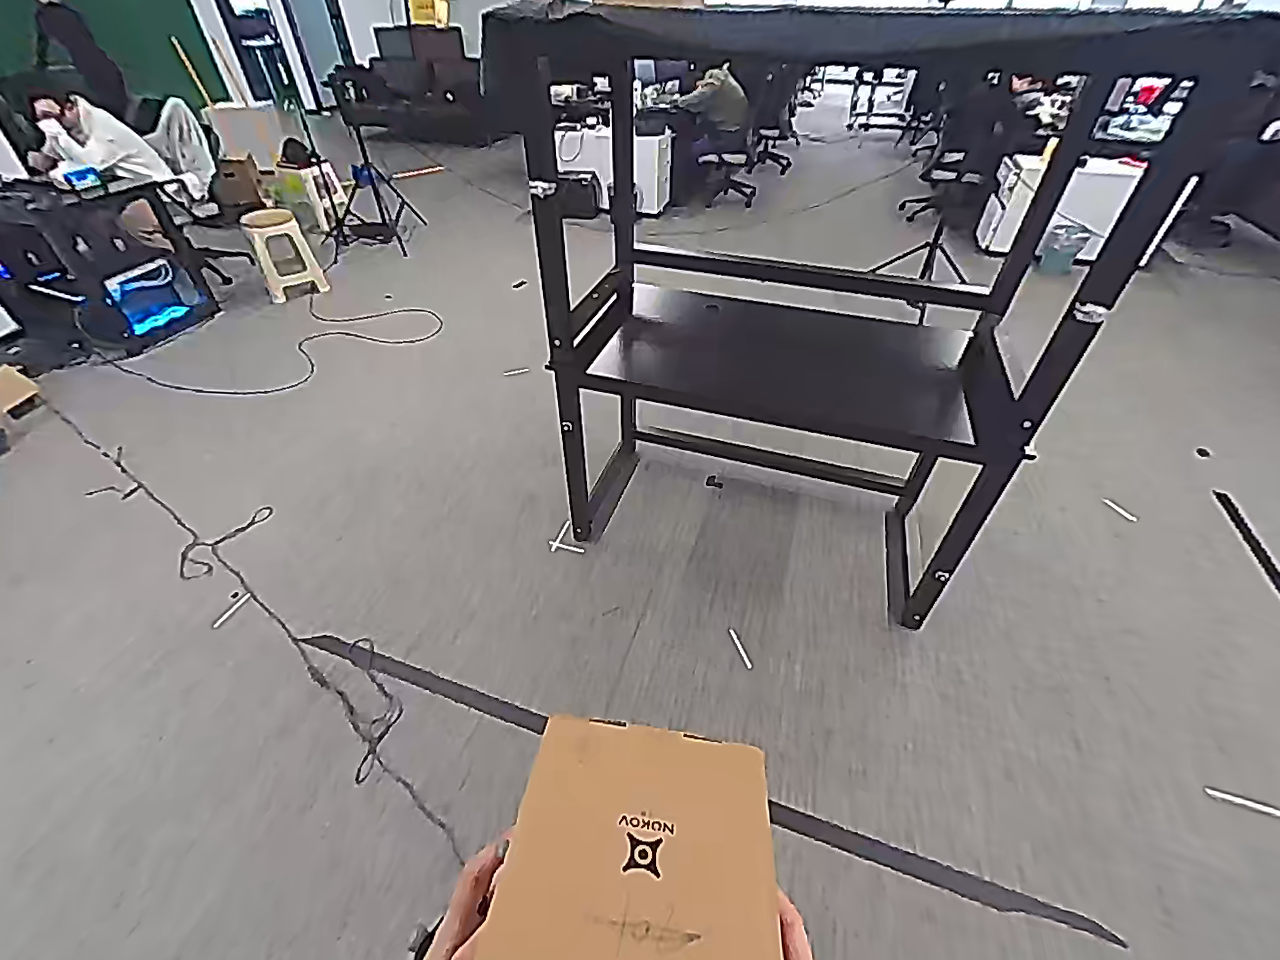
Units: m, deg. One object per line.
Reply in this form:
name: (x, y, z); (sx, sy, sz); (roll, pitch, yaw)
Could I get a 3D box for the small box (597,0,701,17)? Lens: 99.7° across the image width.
small box: (0.022, -0.934, 0.956); (0.168, 0.176, 0.179); (14, 41, 13)

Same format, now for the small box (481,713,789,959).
small box: (-0.003, 0.300, 0.373); (0.168, 0.176, 0.179); (7, 28, 3)
